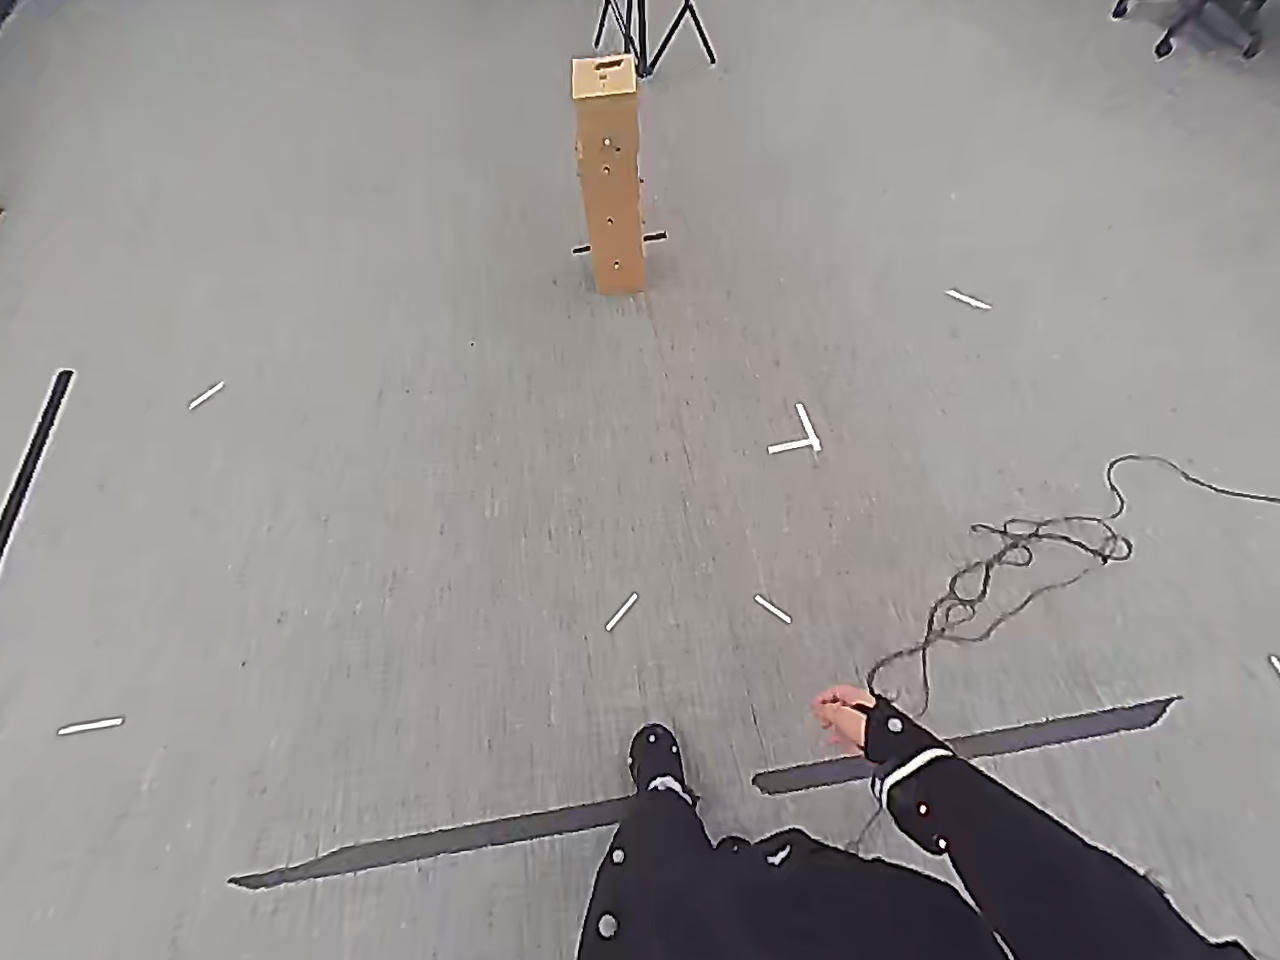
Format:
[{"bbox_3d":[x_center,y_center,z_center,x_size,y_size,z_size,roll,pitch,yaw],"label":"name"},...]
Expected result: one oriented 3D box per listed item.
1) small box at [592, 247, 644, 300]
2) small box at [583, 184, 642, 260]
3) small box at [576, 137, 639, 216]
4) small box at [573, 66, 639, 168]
[{"bbox_3d":[-0.076,-0.765,1.924,0.179,0.176,0.168,-4,63,1],"label":"small box"},{"bbox_3d":[-0.086,-0.846,1.781,0.179,0.176,0.168,-1,64,3],"label":"small box"},{"bbox_3d":[-0.095,-0.926,1.641,0.179,0.176,0.168,-3,64,1],"label":"small box"},{"bbox_3d":[-0.091,-0.998,1.492,0.168,0.176,0.179,-4,65,2],"label":"small box"}]
